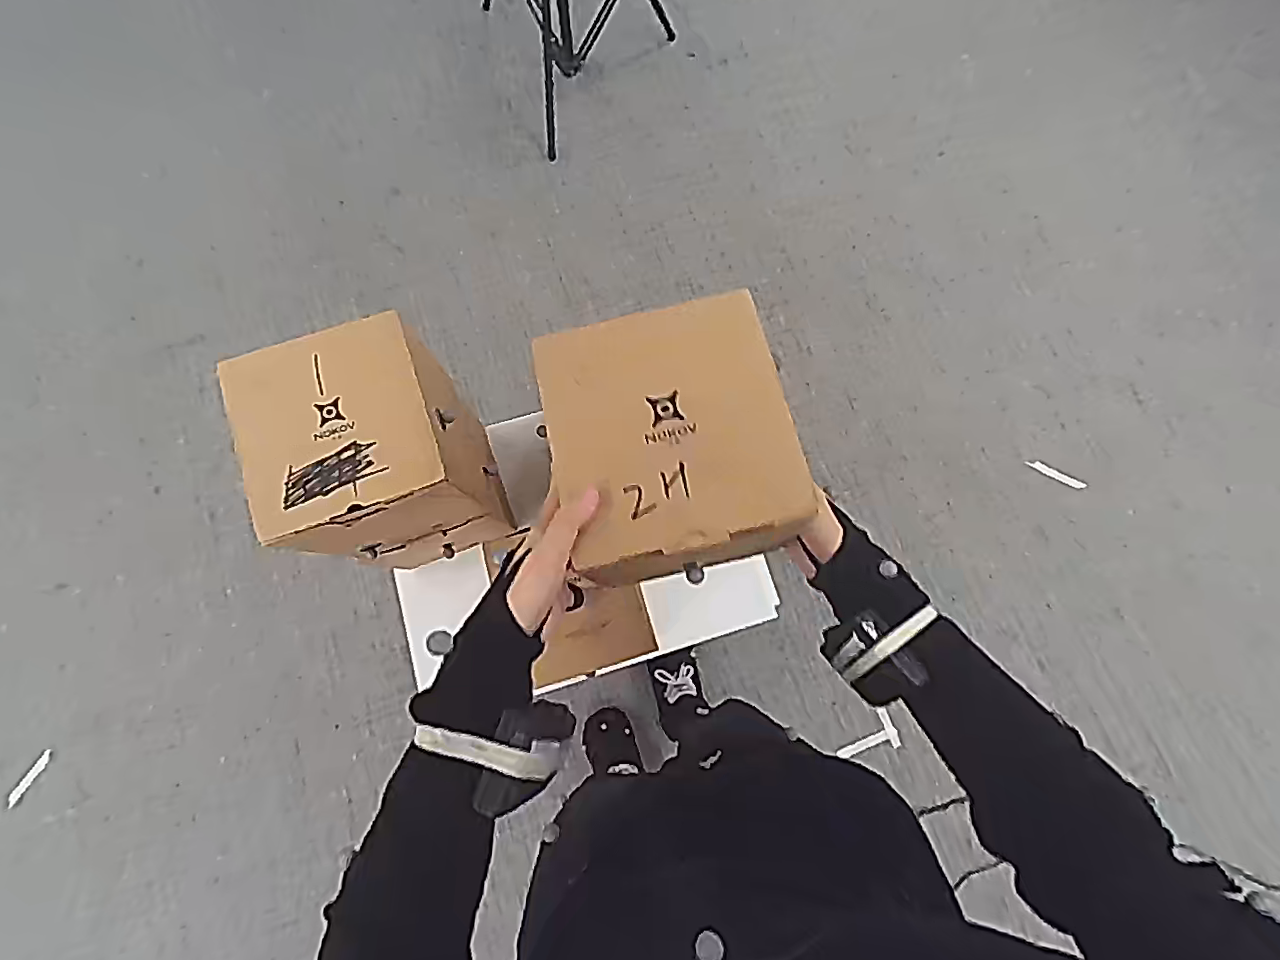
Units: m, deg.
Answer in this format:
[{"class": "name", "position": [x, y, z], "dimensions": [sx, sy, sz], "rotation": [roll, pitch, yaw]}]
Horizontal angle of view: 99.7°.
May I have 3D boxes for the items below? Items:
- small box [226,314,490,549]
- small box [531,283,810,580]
[{"class": "small box", "position": [-0.271, -0.034, 0.559], "dimensions": [0.168, 0.176, 0.179], "rotation": [-19, 79, -6]}, {"class": "small box", "position": [0.020, -0.026, 0.451], "dimensions": [0.168, 0.176, 0.179], "rotation": [-14, 73, 1]}]
